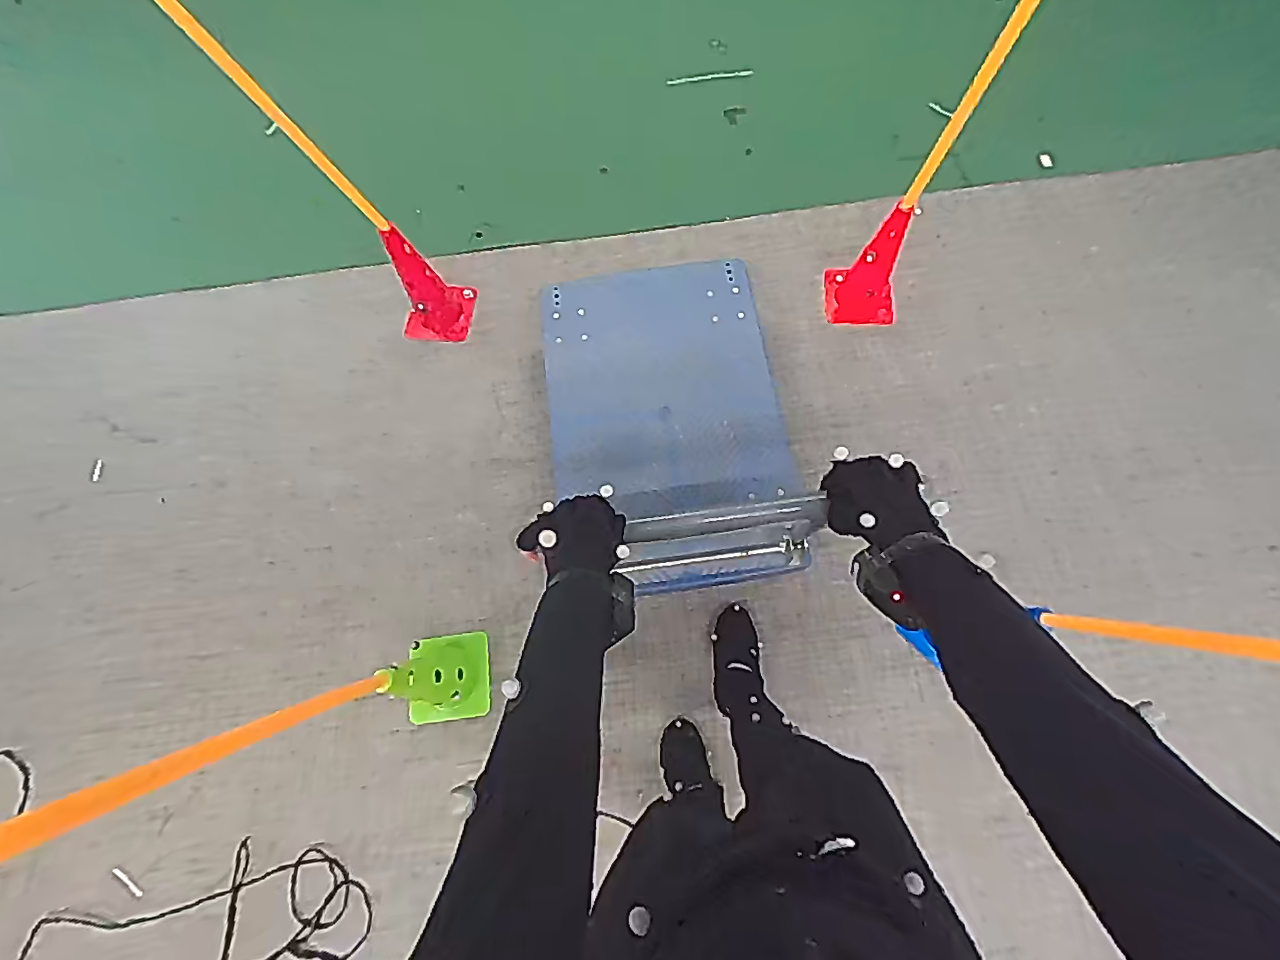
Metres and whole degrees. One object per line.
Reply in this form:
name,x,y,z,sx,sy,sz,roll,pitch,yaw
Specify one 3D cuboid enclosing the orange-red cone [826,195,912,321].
orange-red cone,0.651,-0.619,1.471,0.198,0.360,0.199,3,73,5
